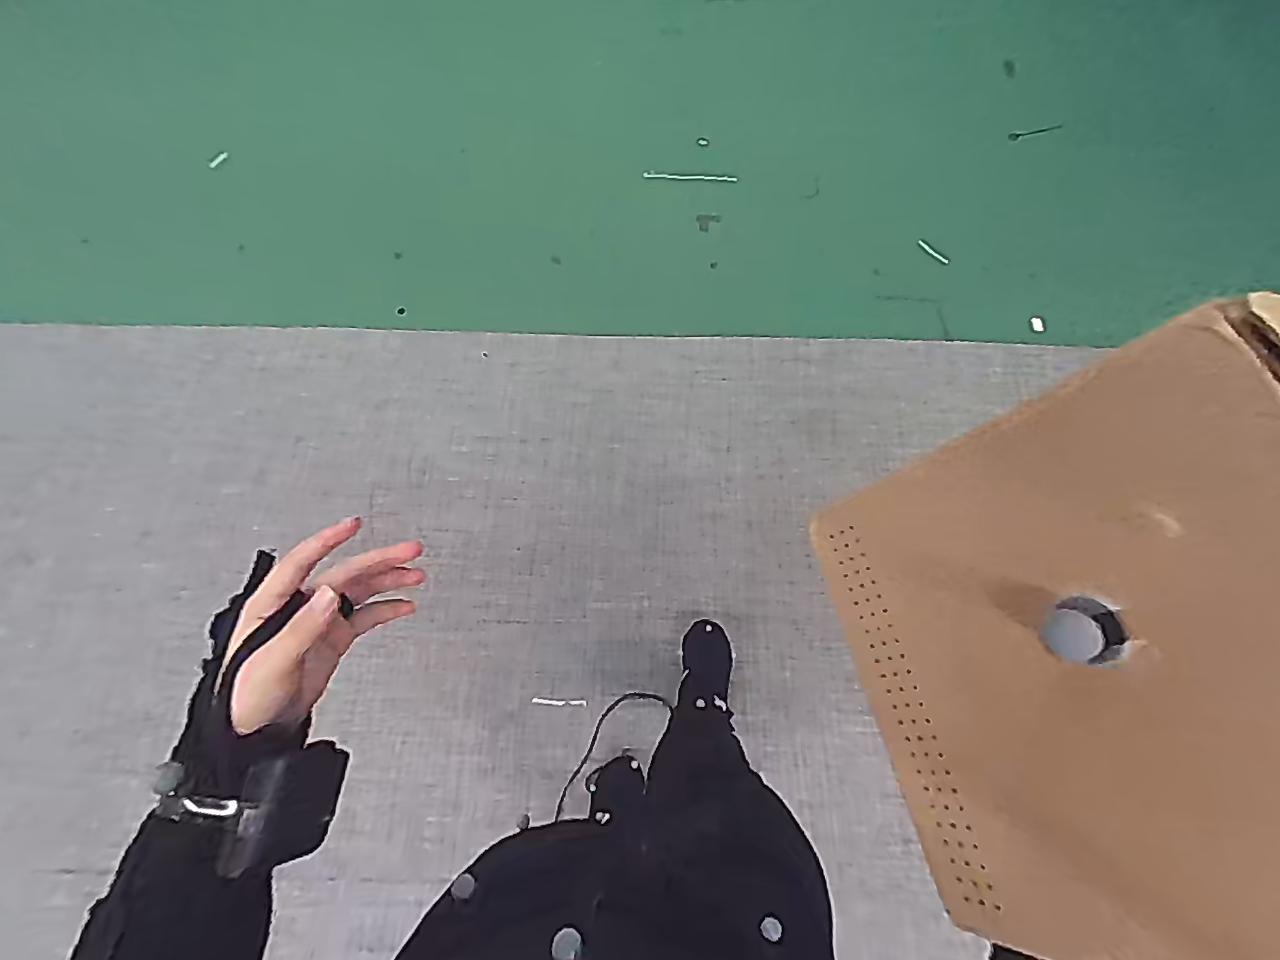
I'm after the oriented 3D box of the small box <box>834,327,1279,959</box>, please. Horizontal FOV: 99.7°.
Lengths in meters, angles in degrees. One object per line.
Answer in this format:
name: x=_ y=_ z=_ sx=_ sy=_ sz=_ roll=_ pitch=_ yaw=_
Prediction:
small box: x=0.213 y=0.064 z=0.219 sx=0.168 sy=0.176 sz=0.179 roll=-6 pitch=68 yaw=-26
